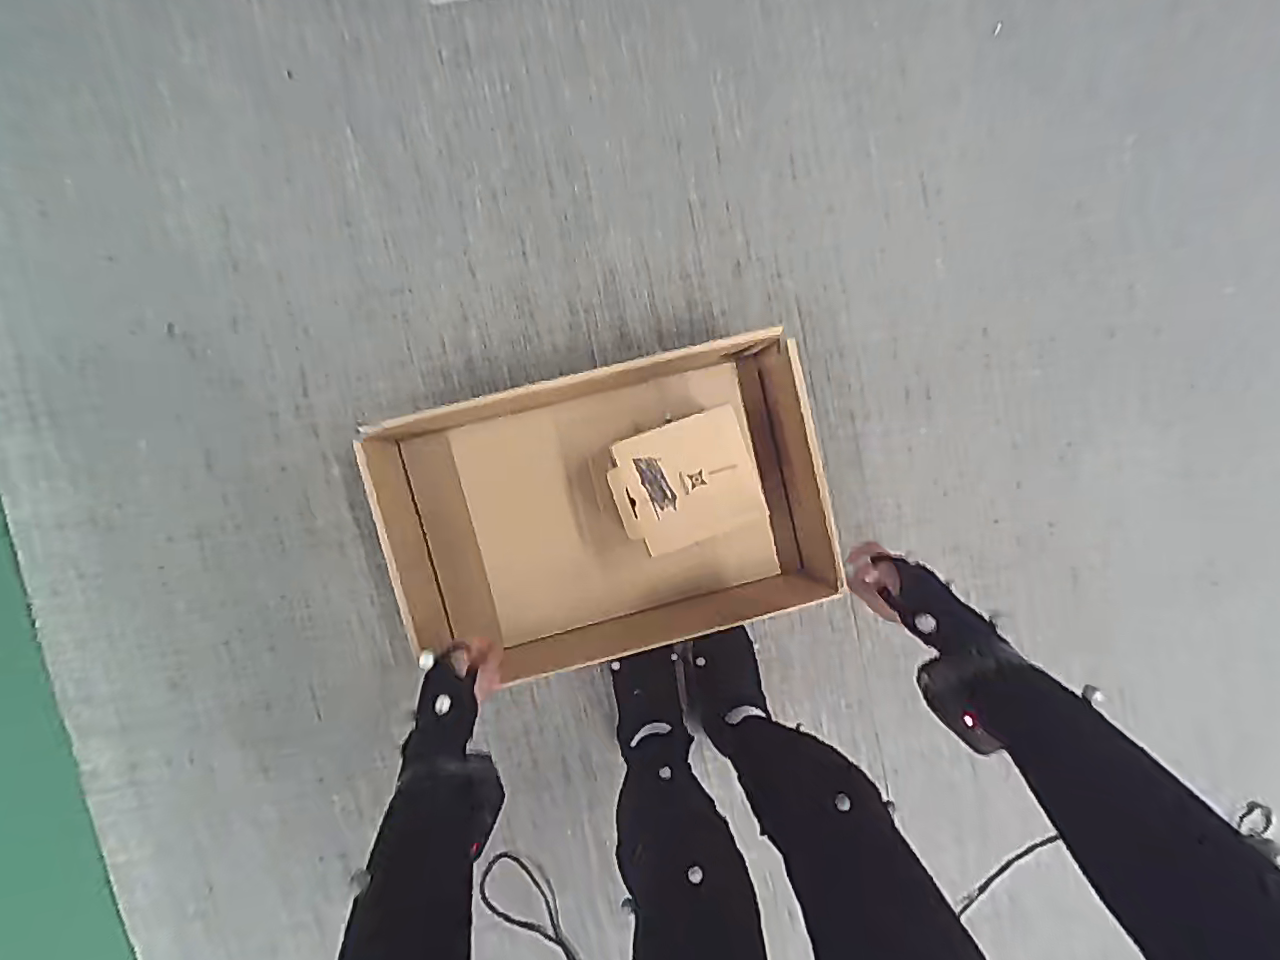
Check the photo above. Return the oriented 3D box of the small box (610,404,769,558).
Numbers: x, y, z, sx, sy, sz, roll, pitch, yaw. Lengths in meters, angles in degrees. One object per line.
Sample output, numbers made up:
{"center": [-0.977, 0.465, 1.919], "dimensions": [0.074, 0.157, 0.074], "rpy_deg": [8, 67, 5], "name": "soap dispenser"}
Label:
{"center": [0.064, -0.001, 0.805], "dimensions": [0.179, 0.176, 0.168], "rpy_deg": [-21, 95, -2], "name": "small box"}
